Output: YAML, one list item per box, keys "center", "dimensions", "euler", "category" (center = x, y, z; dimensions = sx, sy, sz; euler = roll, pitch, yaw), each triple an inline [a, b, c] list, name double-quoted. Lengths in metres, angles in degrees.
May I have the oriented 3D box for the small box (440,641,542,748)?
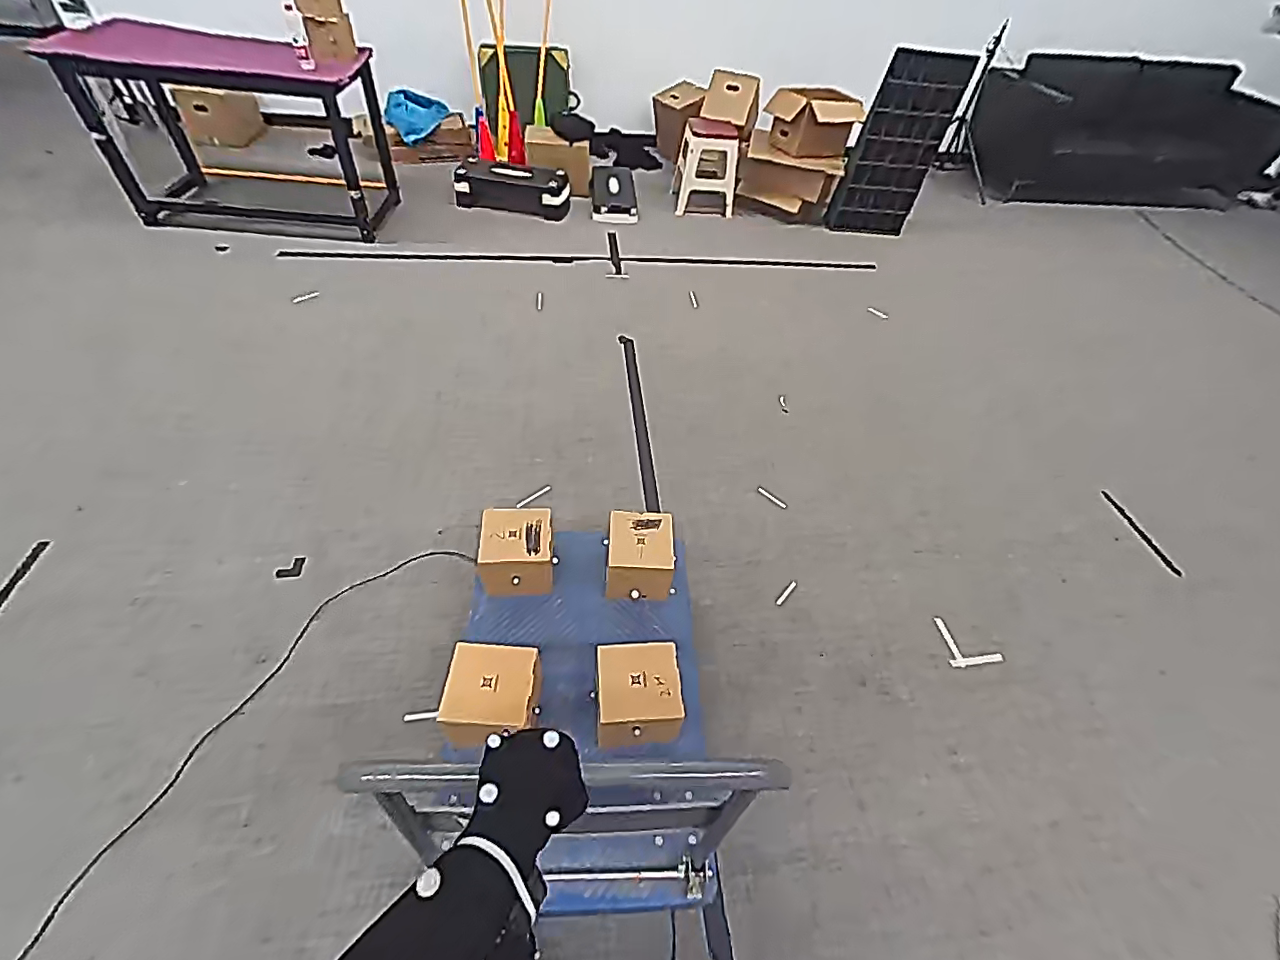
- center: [-0.313, 0.468, 1.171]
  dimensions: [0.179, 0.176, 0.168]
  euler: [6, 48, -4]
  category: "small box"

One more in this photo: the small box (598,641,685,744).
- center: [-0.005, 0.475, 1.202]
  dimensions: [0.179, 0.176, 0.168]
  euler: [0, 48, -7]
  category: "small box"

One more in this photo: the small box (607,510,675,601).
- center: [0.000, 0.202, 1.448]
  dimensions: [0.168, 0.176, 0.179]
  euler: [4, 49, -4]
  category: "small box"
